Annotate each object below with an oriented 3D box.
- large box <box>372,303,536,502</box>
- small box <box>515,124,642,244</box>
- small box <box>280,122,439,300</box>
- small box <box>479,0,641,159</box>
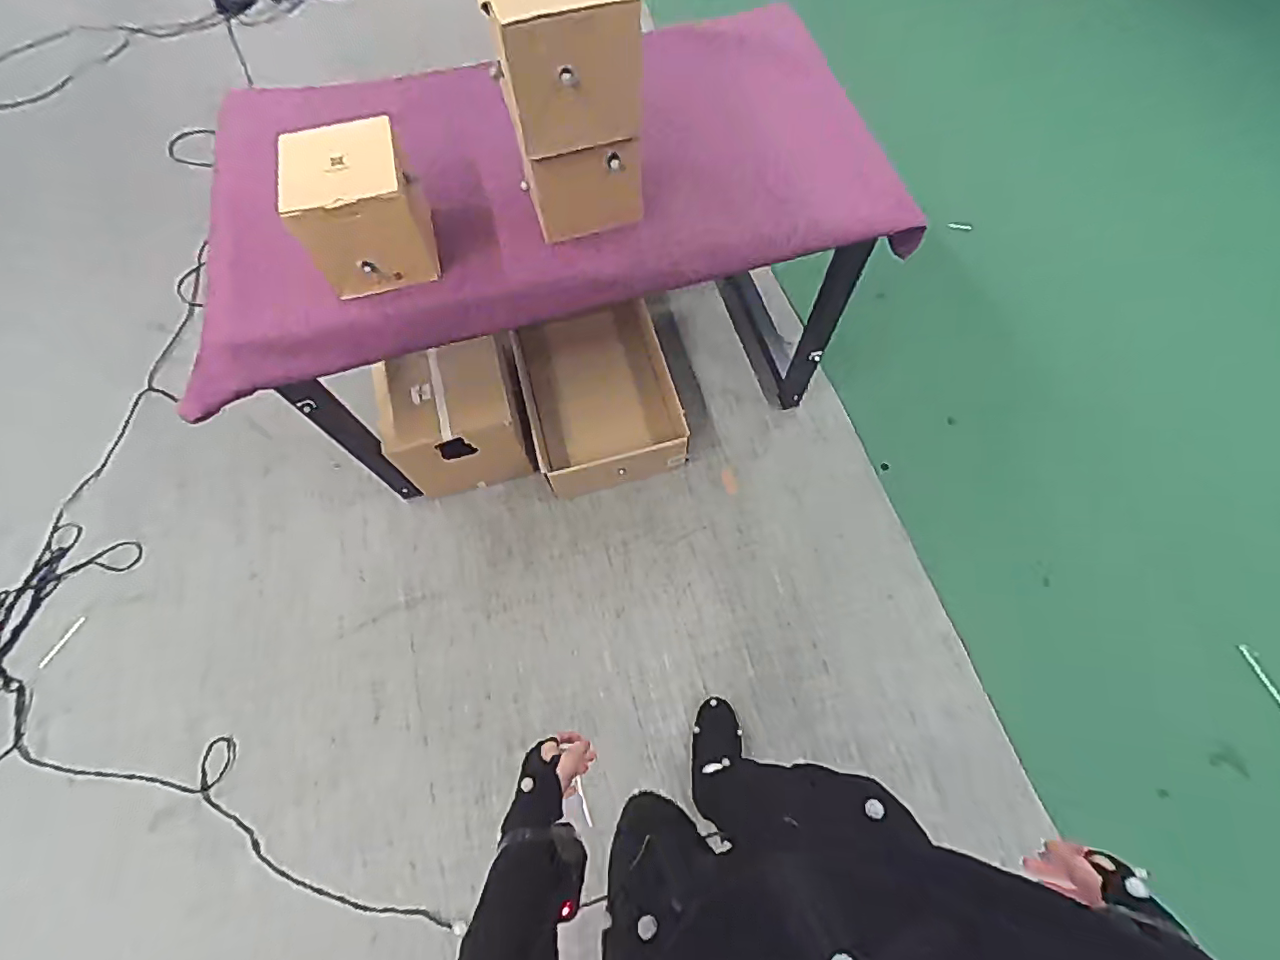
[{"bbox_3d":[-0.496,-0.205,1.486,0.320,0.320,0.408,-15,68,-5],"label":"large box"},{"bbox_3d":[-0.100,-0.524,0.890,0.179,0.176,0.168,-16,66,-5],"label":"small box"},{"bbox_3d":[-0.435,-0.419,0.857,0.168,0.176,0.179,-15,67,-5],"label":"small box"},{"bbox_3d":[-0.104,-0.573,0.732,0.179,0.176,0.168,-17,67,-5],"label":"small box"}]
